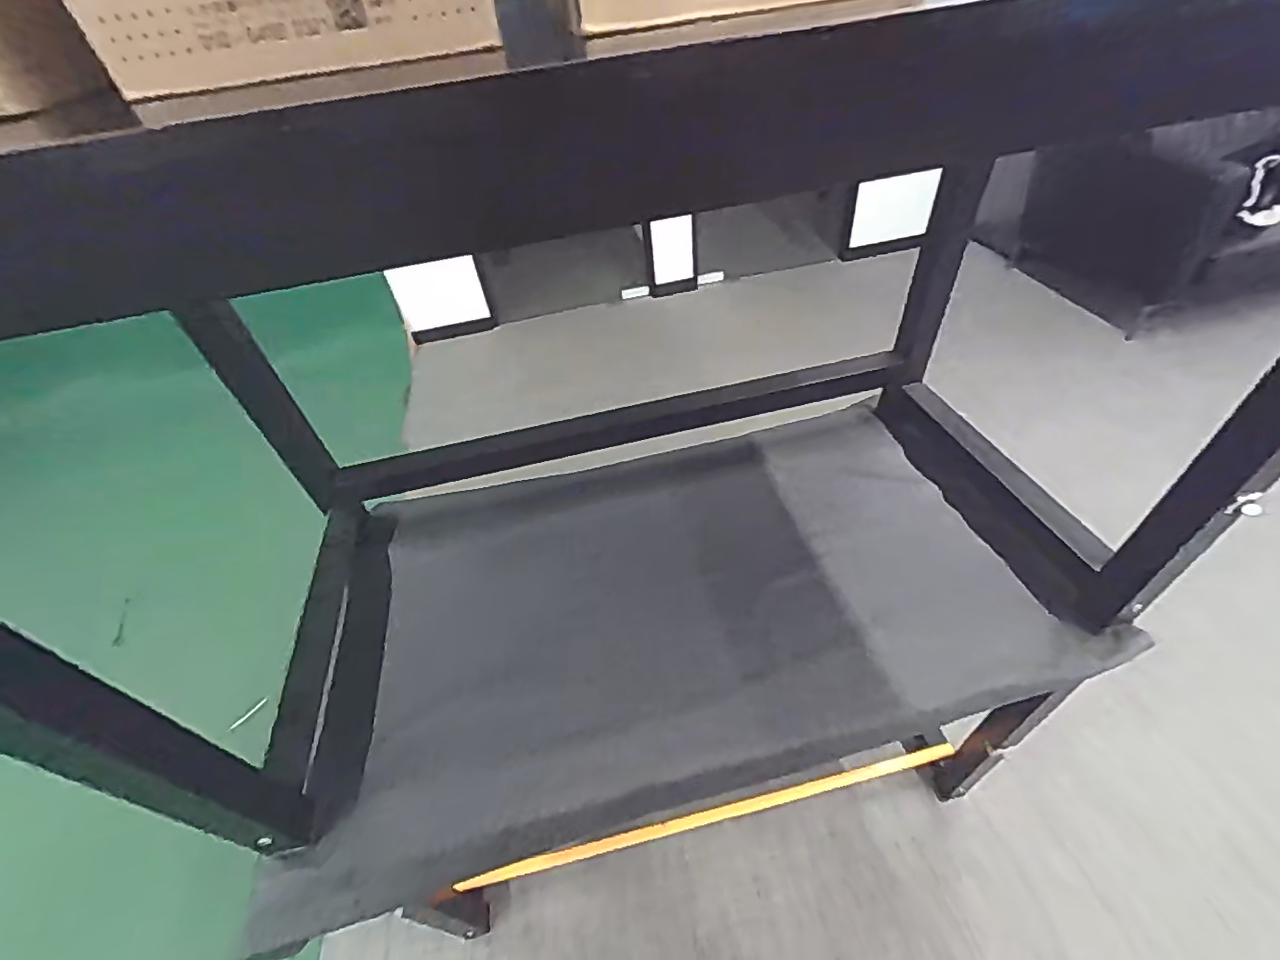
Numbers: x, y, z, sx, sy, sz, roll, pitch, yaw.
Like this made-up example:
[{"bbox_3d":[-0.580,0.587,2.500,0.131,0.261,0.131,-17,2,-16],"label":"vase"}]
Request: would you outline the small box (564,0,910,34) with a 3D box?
[{"bbox_3d":[0.037,-0.325,0.250,0.168,0.176,0.179,-11,45,-4],"label":"small box"}]
